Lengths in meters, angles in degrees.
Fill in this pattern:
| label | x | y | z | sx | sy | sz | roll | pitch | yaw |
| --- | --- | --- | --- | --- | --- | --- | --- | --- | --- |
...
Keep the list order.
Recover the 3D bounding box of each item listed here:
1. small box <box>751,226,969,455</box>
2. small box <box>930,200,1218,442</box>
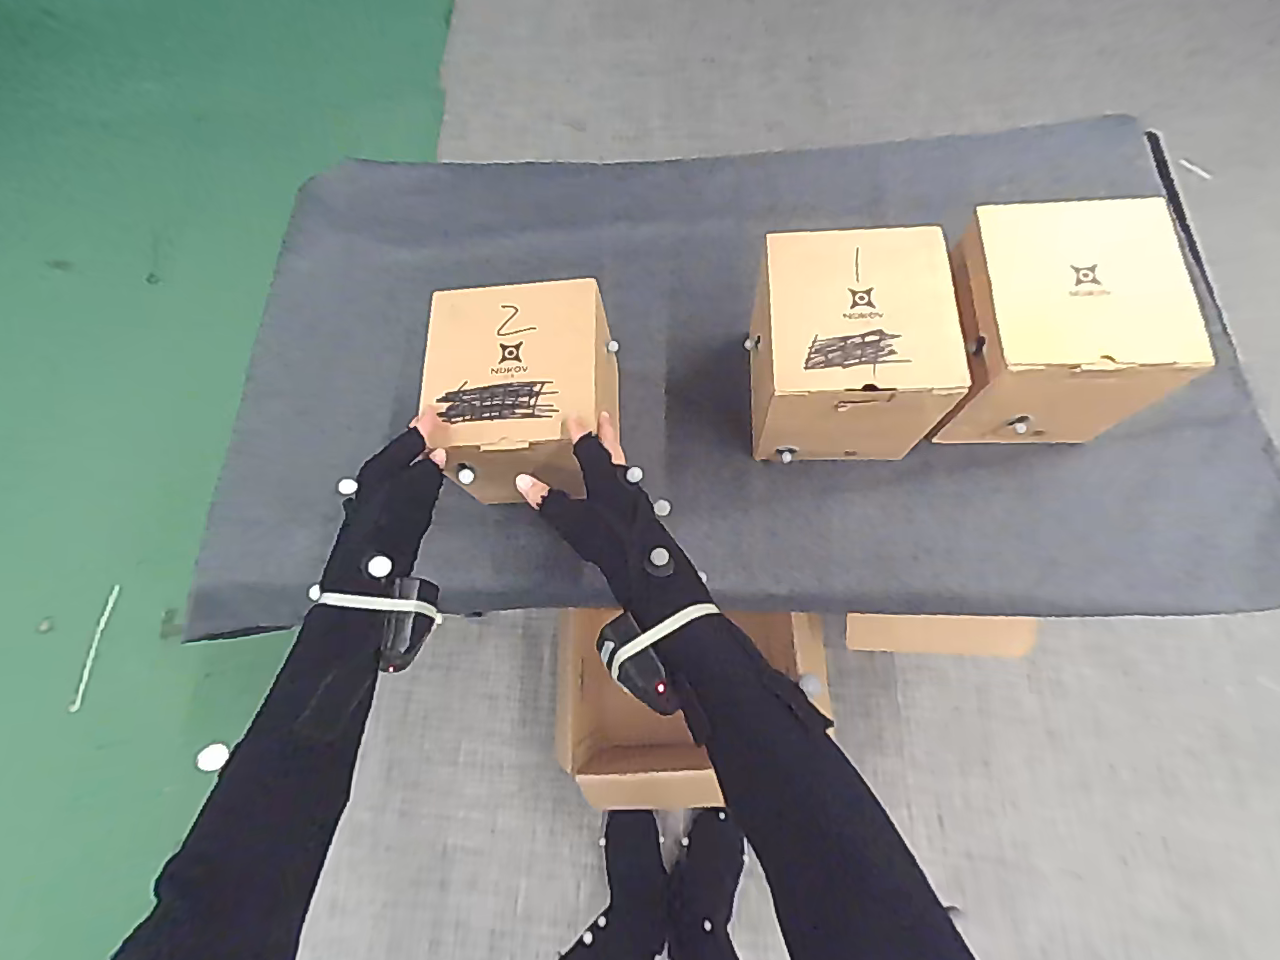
| label | x | y | z | sx | sy | sz | roll | pitch | yaw |
| --- | --- | --- | --- | --- | --- | --- | --- | --- | --- |
| small box | 0.209 | -0.132 | 0.565 | 0.168 | 0.176 | 0.179 | 0 | 71 | 5 |
| small box | 0.404 | -0.152 | 0.553 | 0.168 | 0.176 | 0.179 | 0 | 72 | 6 |
